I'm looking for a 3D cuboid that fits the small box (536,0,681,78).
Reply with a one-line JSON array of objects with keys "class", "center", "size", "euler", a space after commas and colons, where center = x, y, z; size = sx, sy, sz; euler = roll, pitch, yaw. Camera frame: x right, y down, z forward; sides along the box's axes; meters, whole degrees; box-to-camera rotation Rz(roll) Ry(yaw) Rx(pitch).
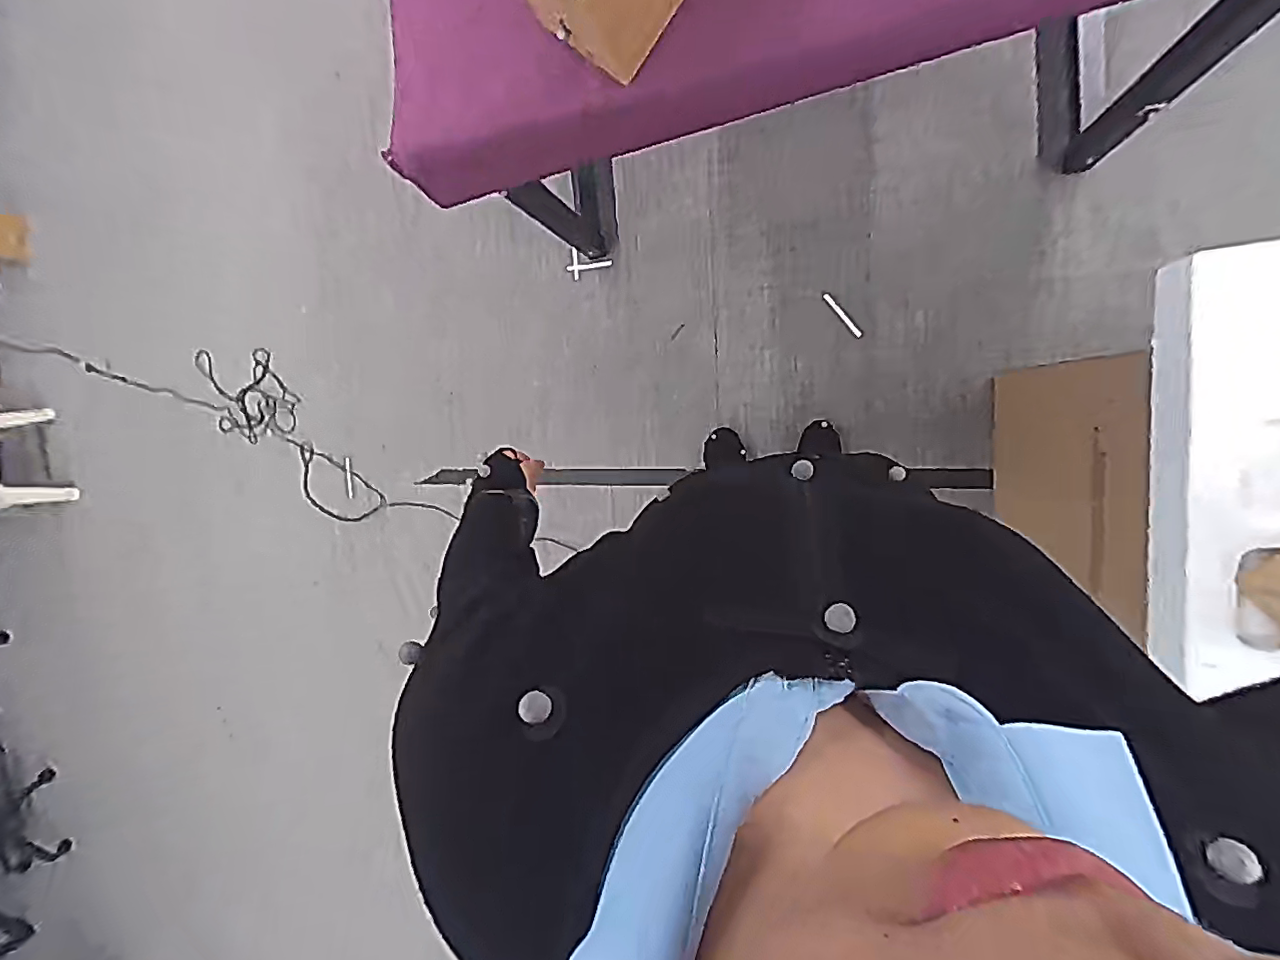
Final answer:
[{"class": "small box", "center": [-0.046, -0.647, 0.646], "size": [0.168, 0.176, 0.179], "euler": [42, 105, 9]}]
